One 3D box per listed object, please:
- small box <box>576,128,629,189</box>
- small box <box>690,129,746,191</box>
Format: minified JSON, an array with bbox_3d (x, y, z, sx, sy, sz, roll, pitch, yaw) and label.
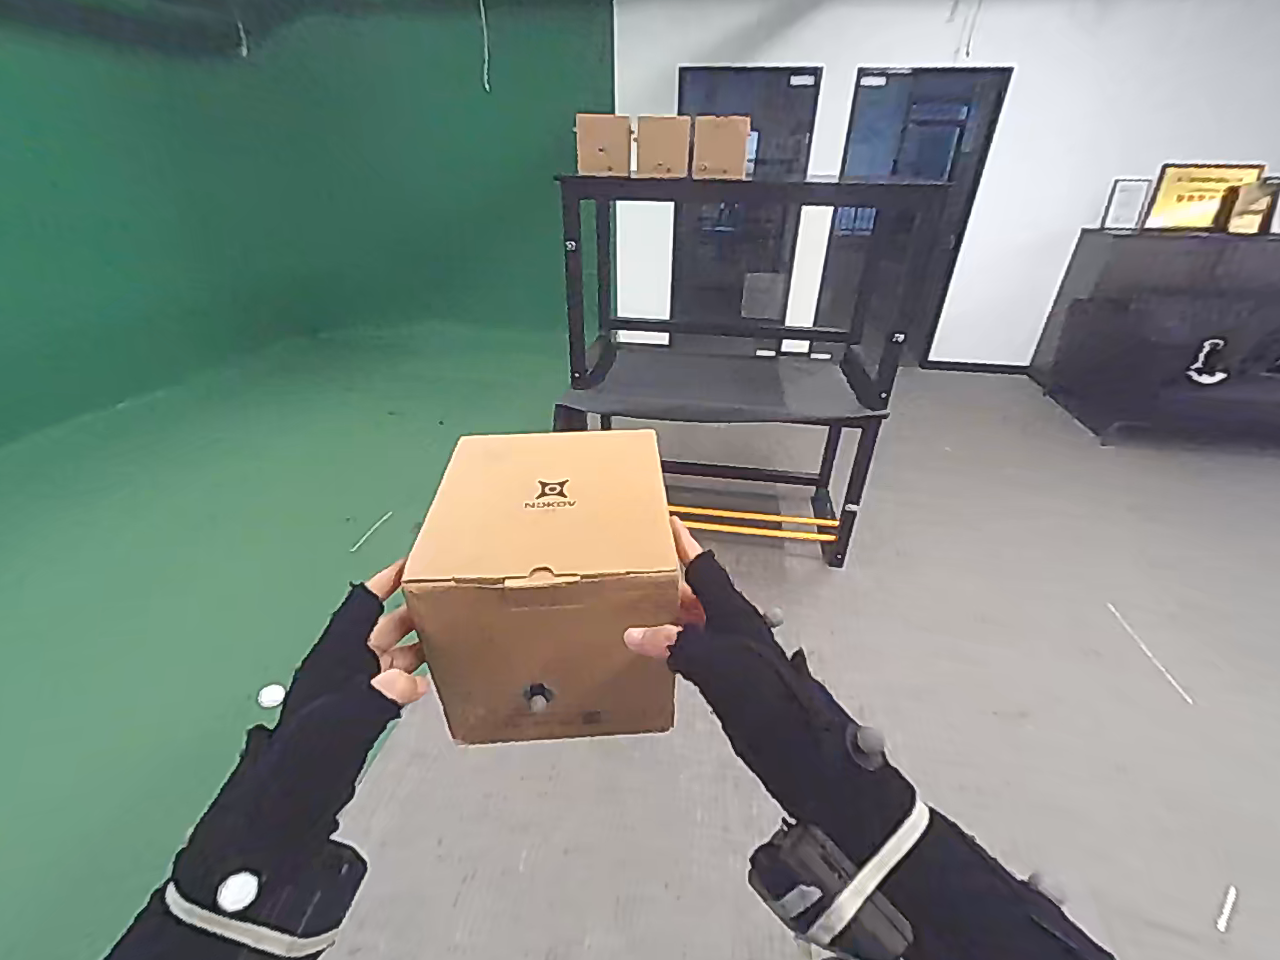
[{"bbox_3d":[-0.122,-1.081,1.821,0.168,0.176,0.179,3,29,0],"label":"small box"},{"bbox_3d":[0.258,-1.053,1.783,0.168,0.176,0.179,6,30,9],"label":"small box"}]
